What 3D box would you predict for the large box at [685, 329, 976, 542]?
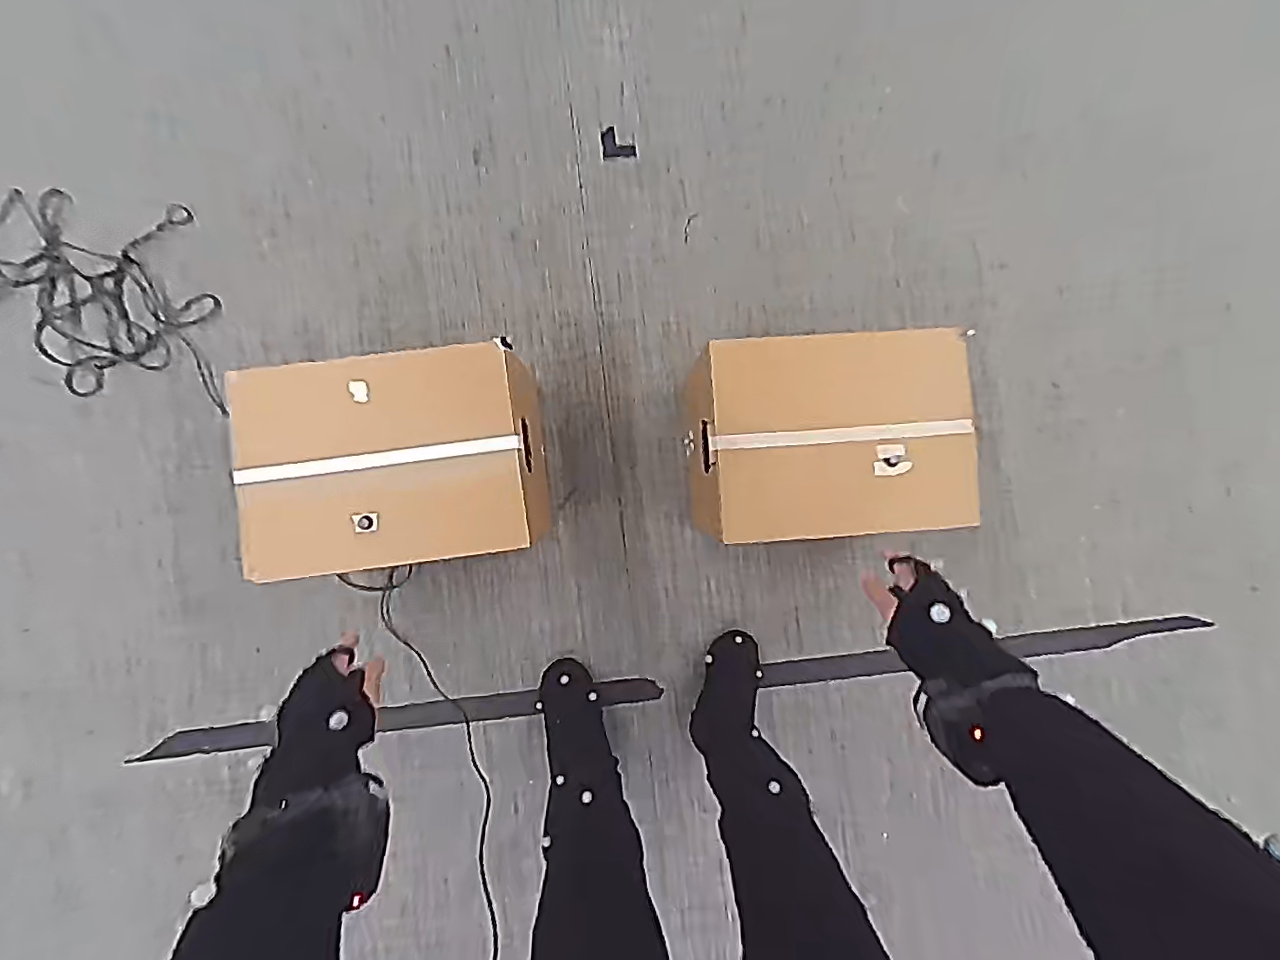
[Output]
[{"bbox_3d":[0.310,-0.067,0.985,0.408,0.320,0.320,-3,89,-3],"label":"large box"}]
